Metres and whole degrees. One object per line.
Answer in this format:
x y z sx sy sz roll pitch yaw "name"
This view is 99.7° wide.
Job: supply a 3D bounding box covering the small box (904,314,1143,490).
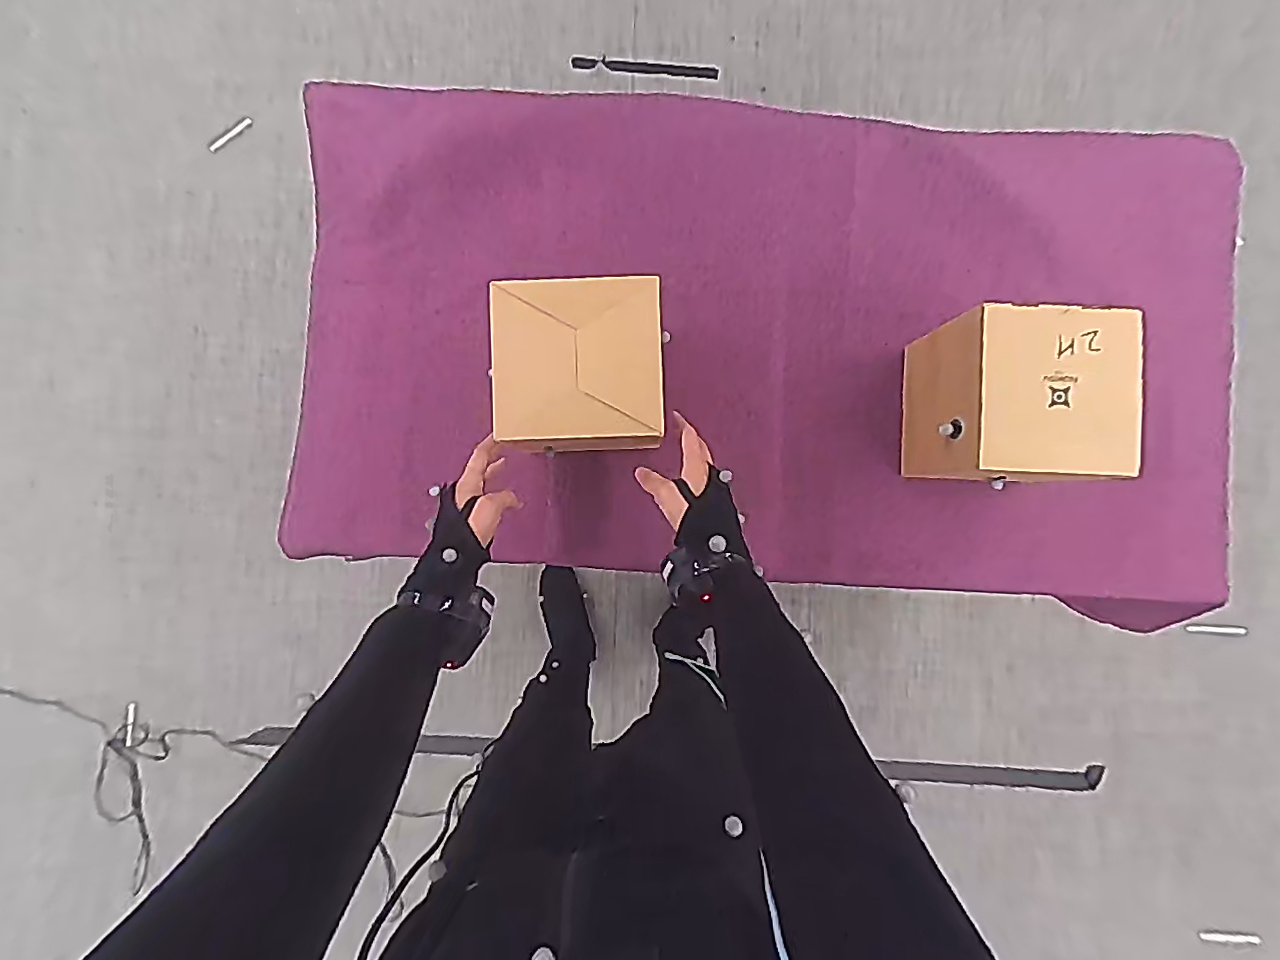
0.431 -0.079 0.637 0.168 0.176 0.179 3 88 0 "small box"
